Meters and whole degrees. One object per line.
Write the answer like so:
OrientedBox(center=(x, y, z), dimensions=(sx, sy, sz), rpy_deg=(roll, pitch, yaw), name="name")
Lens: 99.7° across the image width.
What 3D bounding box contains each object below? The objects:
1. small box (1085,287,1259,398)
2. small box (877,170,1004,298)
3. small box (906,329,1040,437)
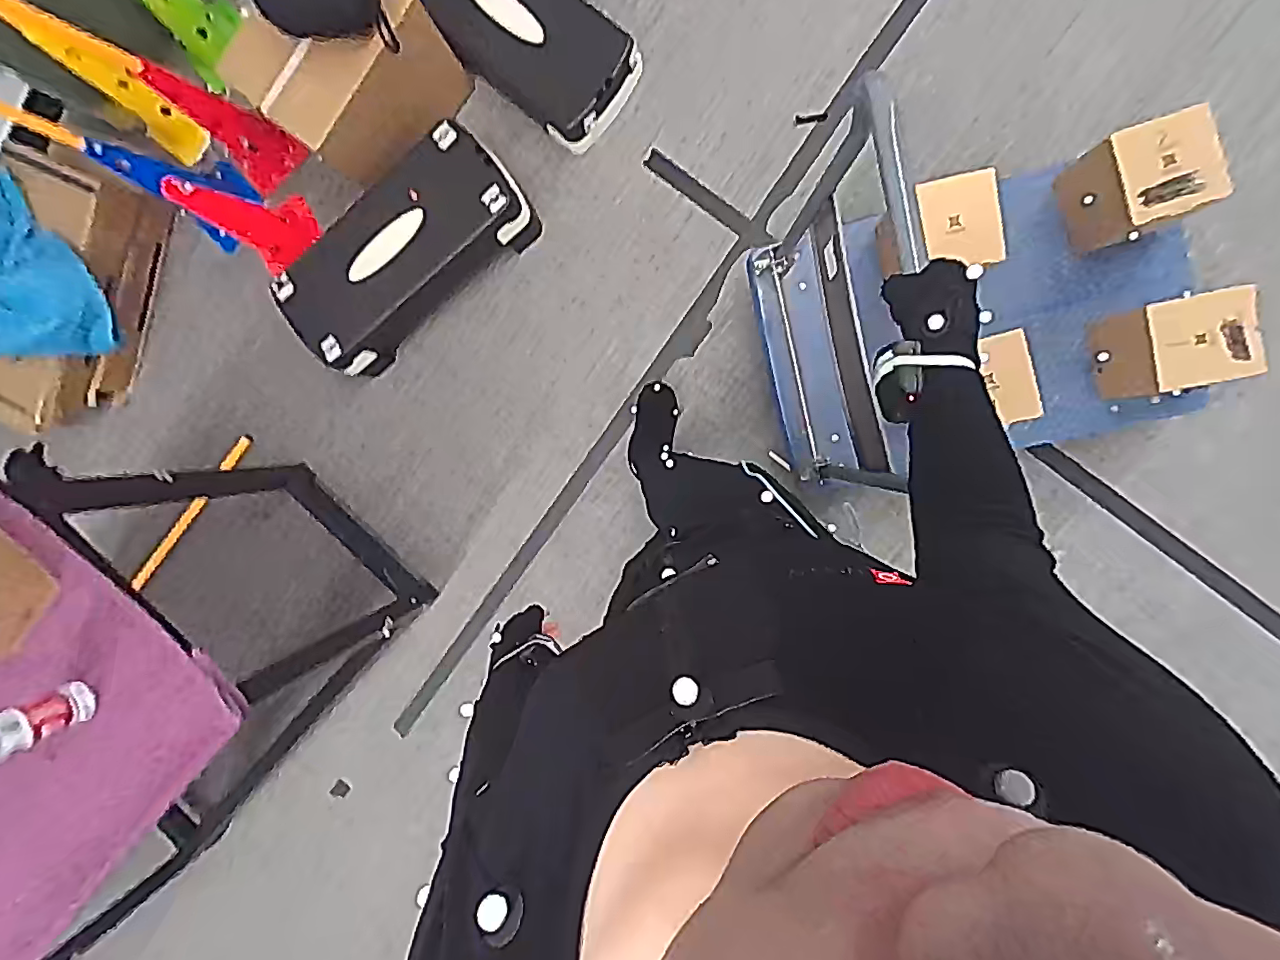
OrientedBox(center=(1.040, -0.263, 1.071), dimensions=(0.179, 0.176, 0.168), rpy_deg=(-11, 92, 9), name="small box")
OrientedBox(center=(0.605, -0.493, 1.108), dimensions=(0.168, 0.176, 0.179), rpy_deg=(-10, 95, 7), name="small box")
OrientedBox(center=(0.676, -0.191, 1.120), dimensions=(0.168, 0.176, 0.179), rpy_deg=(-14, 92, 8), name="small box")
